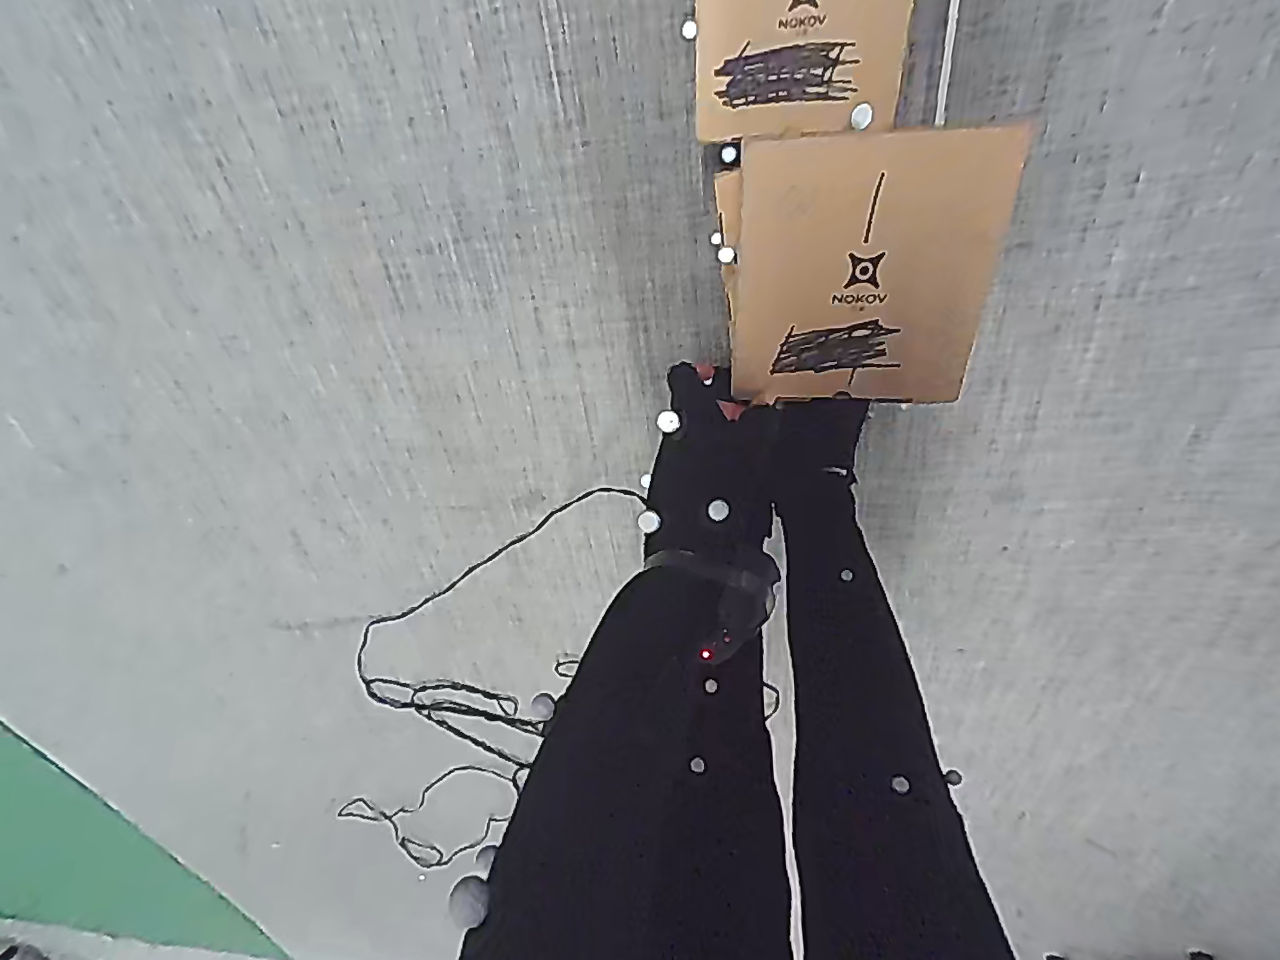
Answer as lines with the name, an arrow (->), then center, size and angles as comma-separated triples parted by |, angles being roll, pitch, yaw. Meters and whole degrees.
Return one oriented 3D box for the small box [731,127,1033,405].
small box -> 0.162, -0.175, 0.433 | 0.168, 0.176, 0.179 | 3, 122, 8
